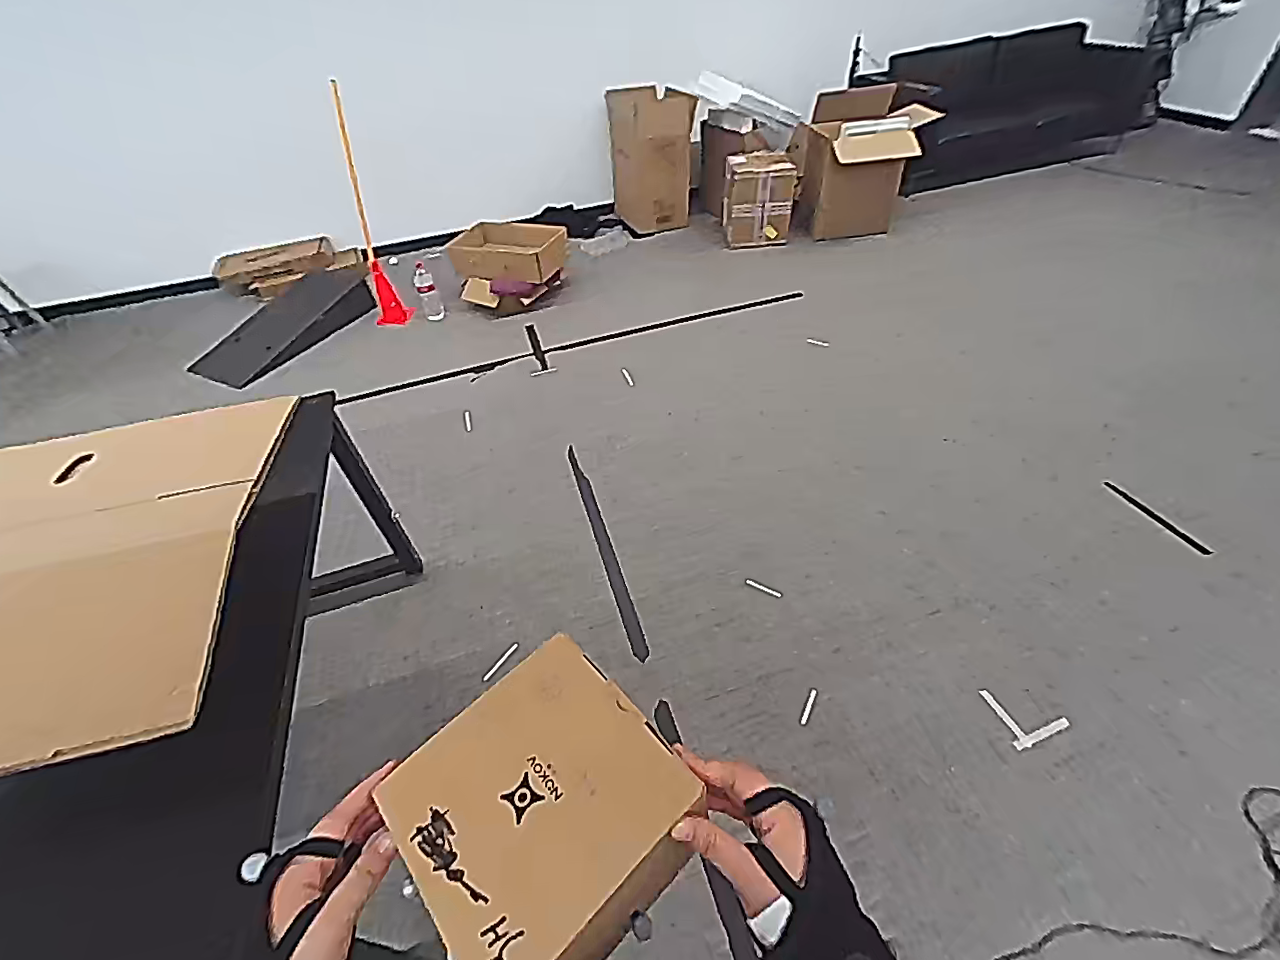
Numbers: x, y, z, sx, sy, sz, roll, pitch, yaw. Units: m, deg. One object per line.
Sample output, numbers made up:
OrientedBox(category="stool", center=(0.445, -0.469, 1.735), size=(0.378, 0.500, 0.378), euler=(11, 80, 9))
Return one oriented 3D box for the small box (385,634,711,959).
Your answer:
OrientedBox(category="small box", center=(-0.061, 0.269, 0.436), size=(0.179, 0.176, 0.168), euler=(-36, 51, -25))
